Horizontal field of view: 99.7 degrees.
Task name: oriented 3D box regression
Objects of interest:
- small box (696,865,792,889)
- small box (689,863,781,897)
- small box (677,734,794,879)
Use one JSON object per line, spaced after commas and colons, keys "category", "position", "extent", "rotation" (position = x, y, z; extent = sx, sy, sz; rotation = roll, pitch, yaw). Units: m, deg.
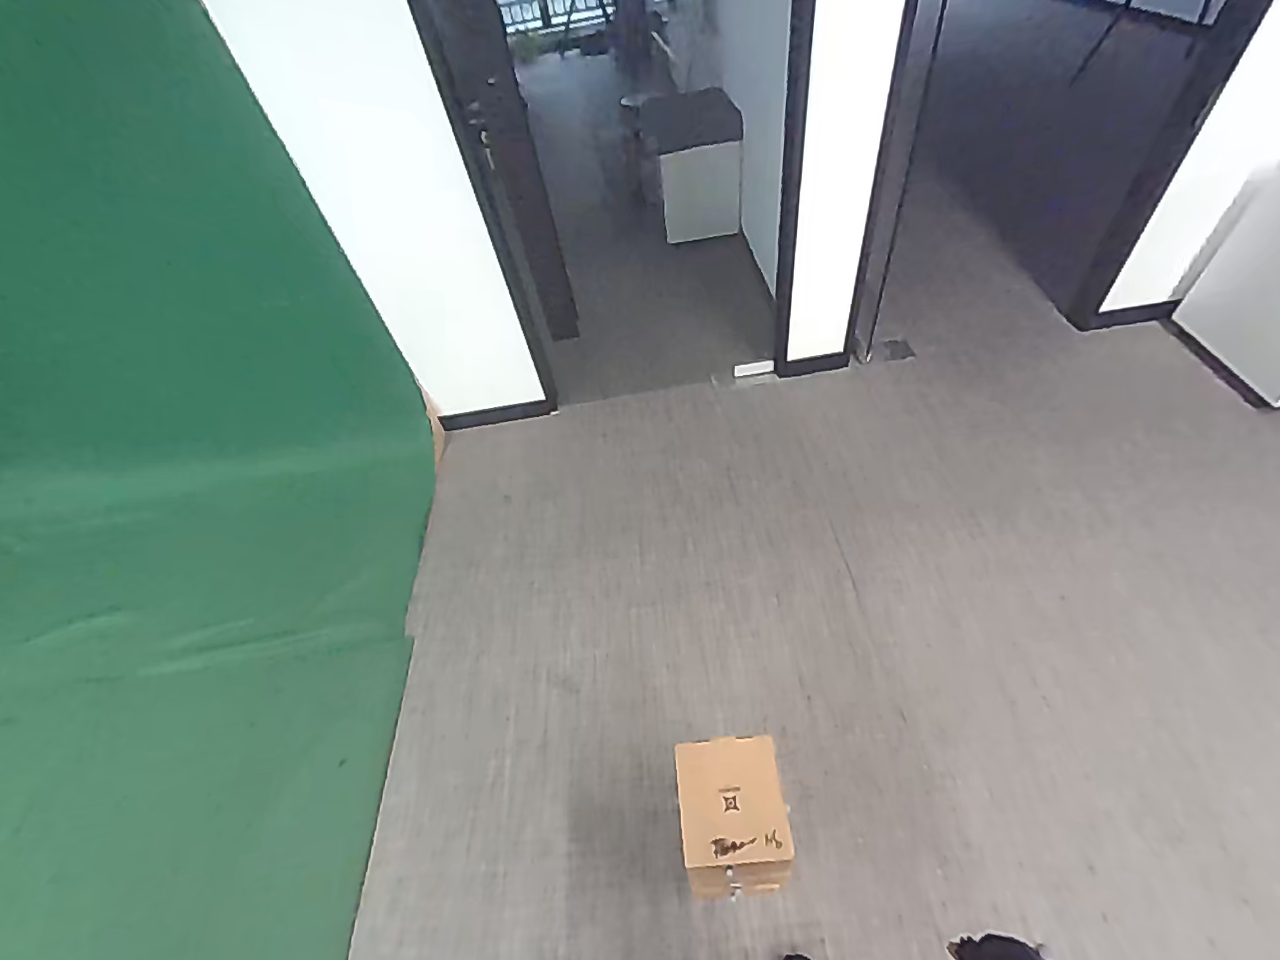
{"category": "small box", "position": [0.185, 0.662, 1.033], "extent": [0.168, 0.176, 0.179], "rotation": [-8, 49, 5]}
{"category": "small box", "position": [0.192, 0.776, 1.148], "extent": [0.179, 0.176, 0.168], "rotation": [-7, 48, 5]}
{"category": "small box", "position": [0.155, 0.553, 0.914], "extent": [0.168, 0.176, 0.179], "rotation": [-8, 47, 5]}
